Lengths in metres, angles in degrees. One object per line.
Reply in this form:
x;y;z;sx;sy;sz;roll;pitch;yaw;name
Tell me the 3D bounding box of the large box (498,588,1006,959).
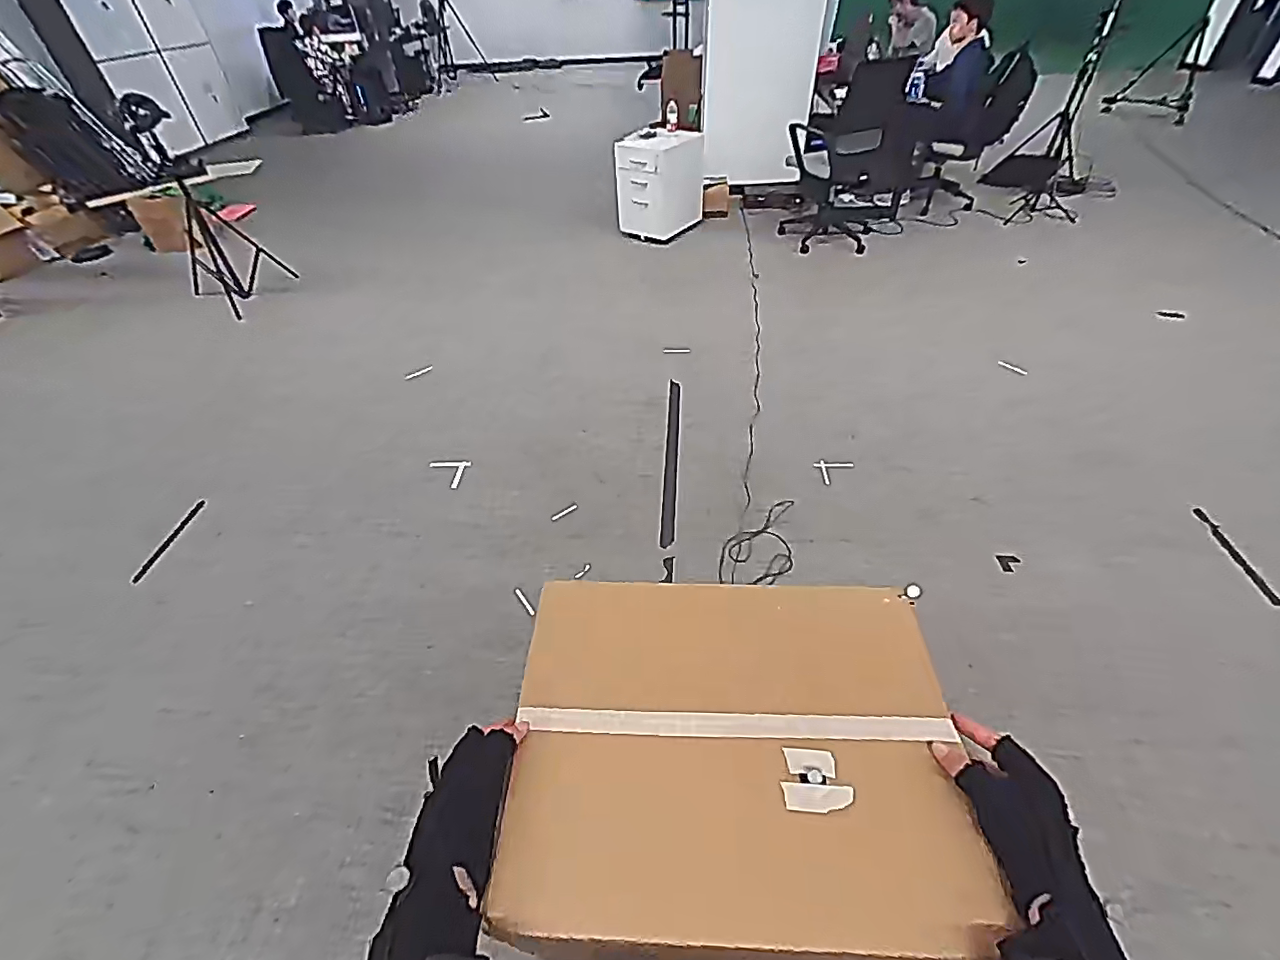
0.091;0.340;0.627;0.408;0.320;0.320;0;46;3;large box
